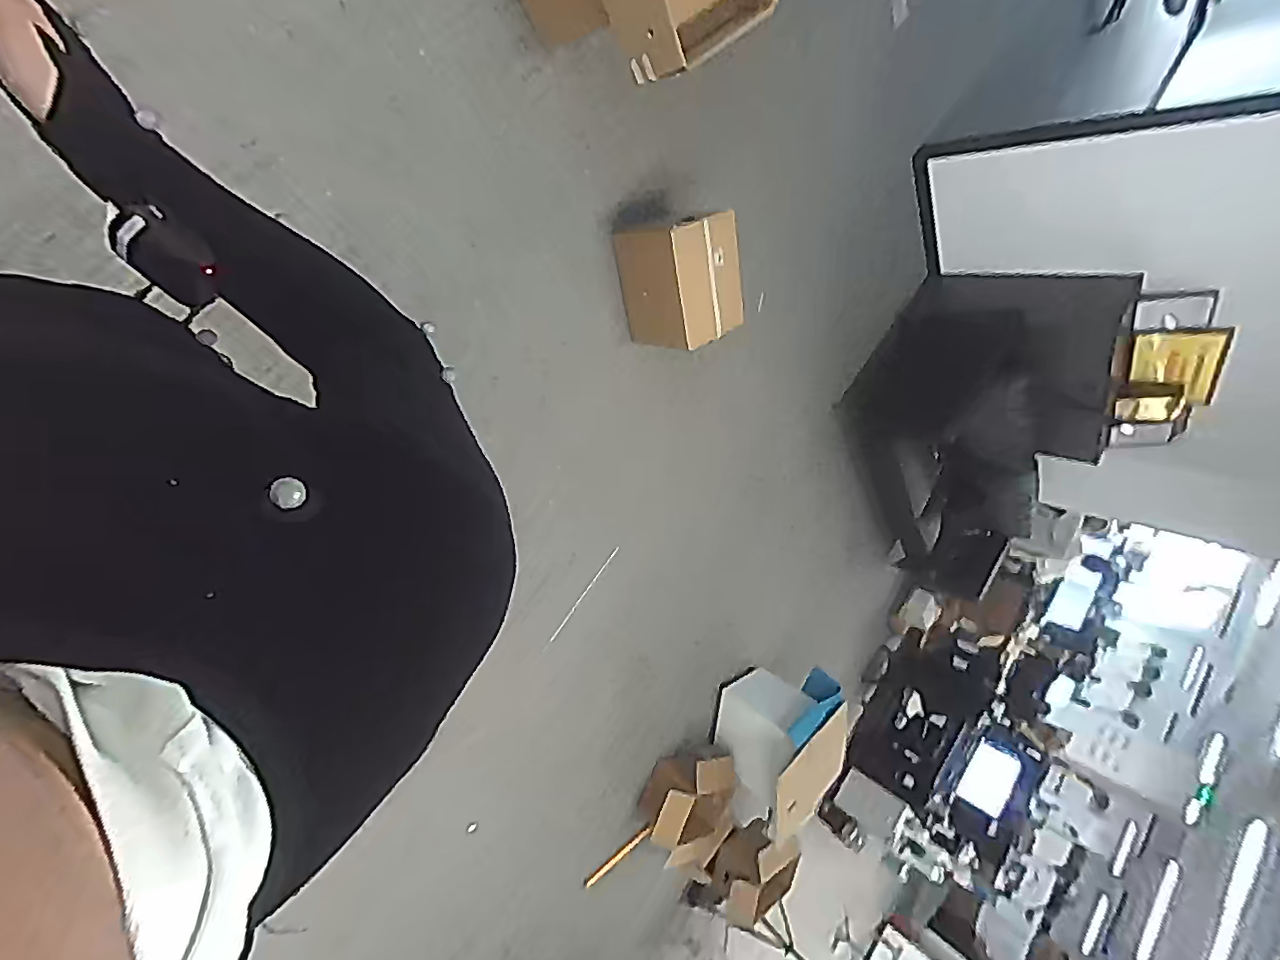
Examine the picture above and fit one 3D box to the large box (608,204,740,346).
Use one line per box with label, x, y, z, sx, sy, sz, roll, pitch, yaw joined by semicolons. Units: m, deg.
large box;0.131;-0.745;1.973;0.320;0.320;0.408;-34;126;-30
